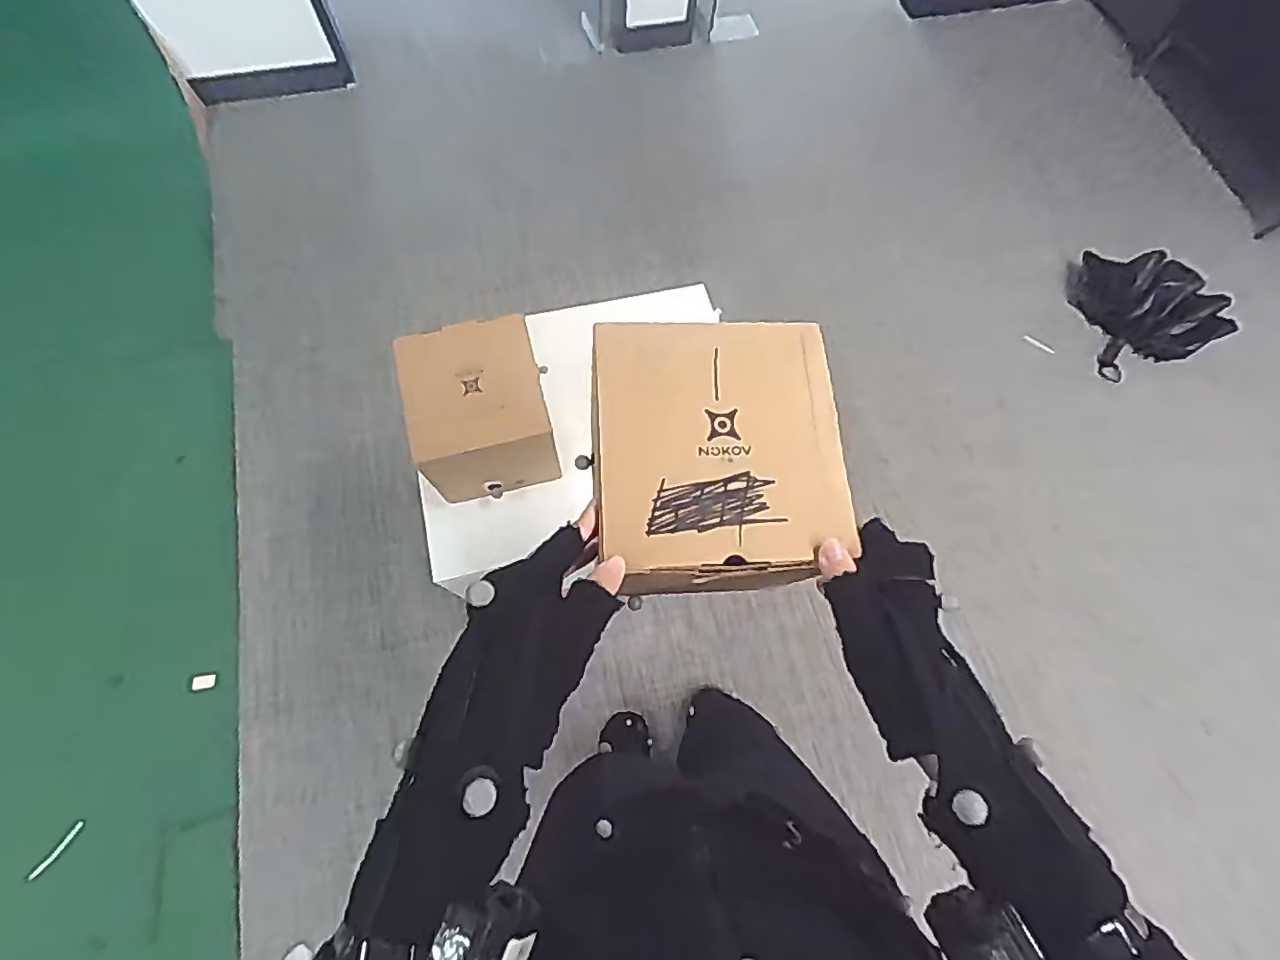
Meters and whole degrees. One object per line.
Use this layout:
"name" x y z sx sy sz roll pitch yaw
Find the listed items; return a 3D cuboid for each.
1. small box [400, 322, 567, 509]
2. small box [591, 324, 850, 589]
"small box" -0.203 -0.080 0.735 0.168 0.176 0.179 -16 73 -7
"small box" 0.045 -0.006 0.441 0.168 0.176 0.179 -2 72 -6
